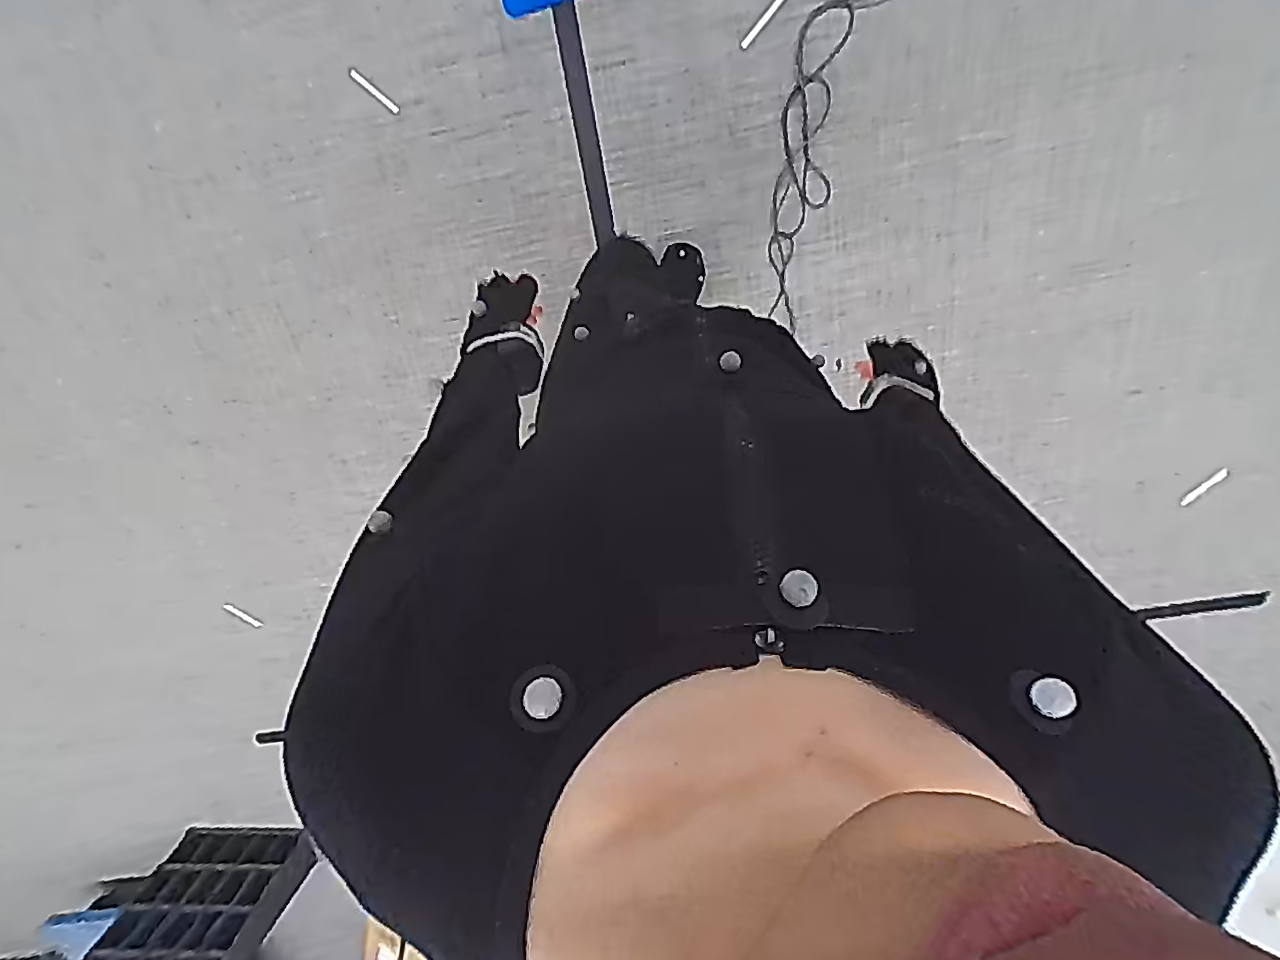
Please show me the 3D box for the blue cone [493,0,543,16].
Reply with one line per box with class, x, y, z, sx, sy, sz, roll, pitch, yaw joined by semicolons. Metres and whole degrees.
blue cone;-0.237;-1.010;0.936;0.192;0.380;0.193;-12;111;7
